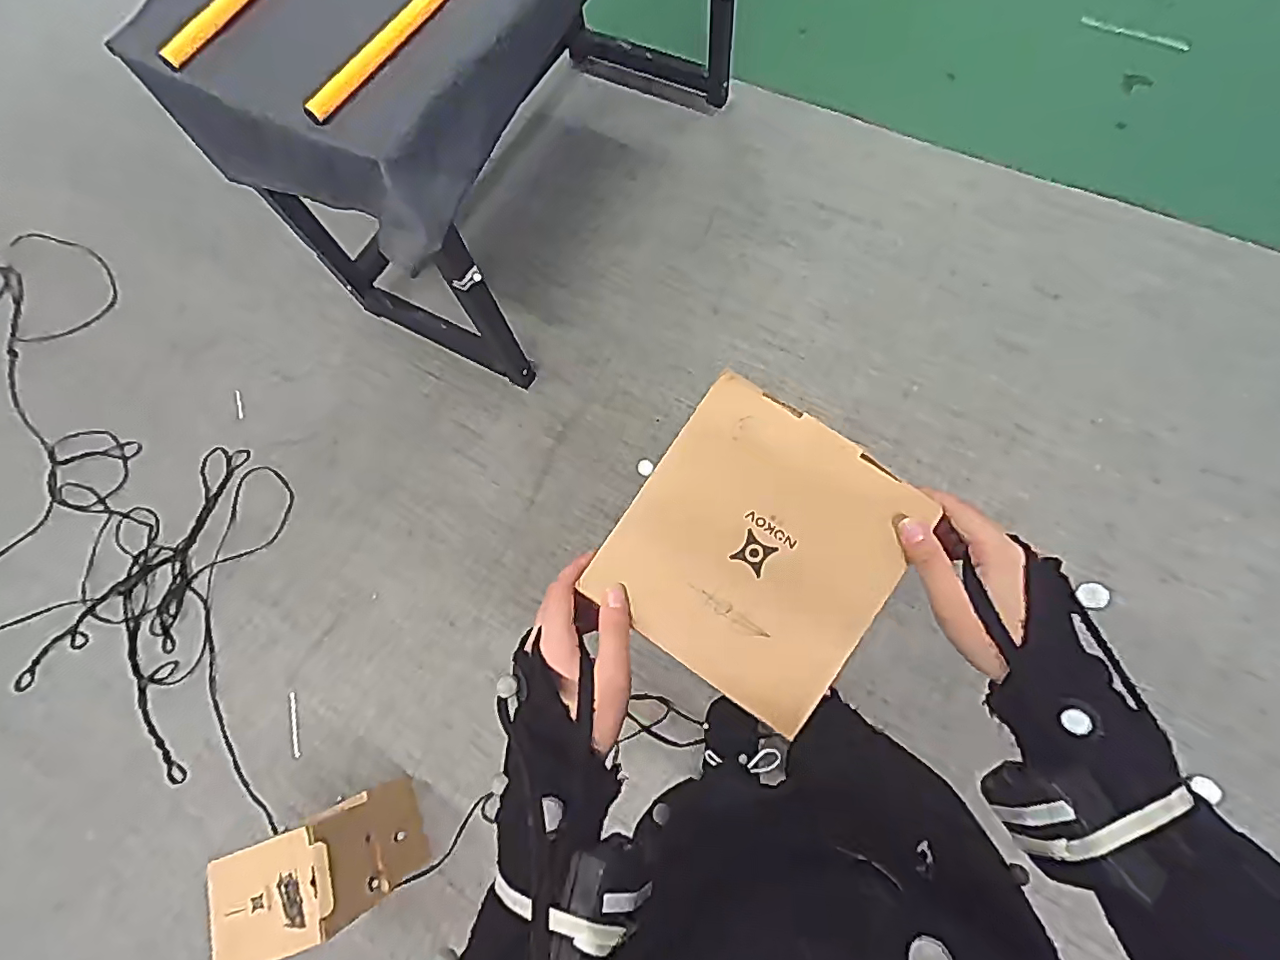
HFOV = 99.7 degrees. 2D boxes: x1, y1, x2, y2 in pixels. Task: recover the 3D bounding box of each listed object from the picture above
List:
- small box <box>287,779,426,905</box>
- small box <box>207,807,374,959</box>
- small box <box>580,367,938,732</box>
[{"bbox_3d":[-0.549,0.725,1.064,0.168,0.176,0.179,-25,71,-3],"label":"small box"},{"bbox_3d":[-0.572,0.679,0.907,0.179,0.176,0.168,-20,70,-1],"label":"small box"},{"bbox_3d":[0.079,0.047,0.421,0.168,0.176,0.179,33,88,8],"label":"small box"}]
